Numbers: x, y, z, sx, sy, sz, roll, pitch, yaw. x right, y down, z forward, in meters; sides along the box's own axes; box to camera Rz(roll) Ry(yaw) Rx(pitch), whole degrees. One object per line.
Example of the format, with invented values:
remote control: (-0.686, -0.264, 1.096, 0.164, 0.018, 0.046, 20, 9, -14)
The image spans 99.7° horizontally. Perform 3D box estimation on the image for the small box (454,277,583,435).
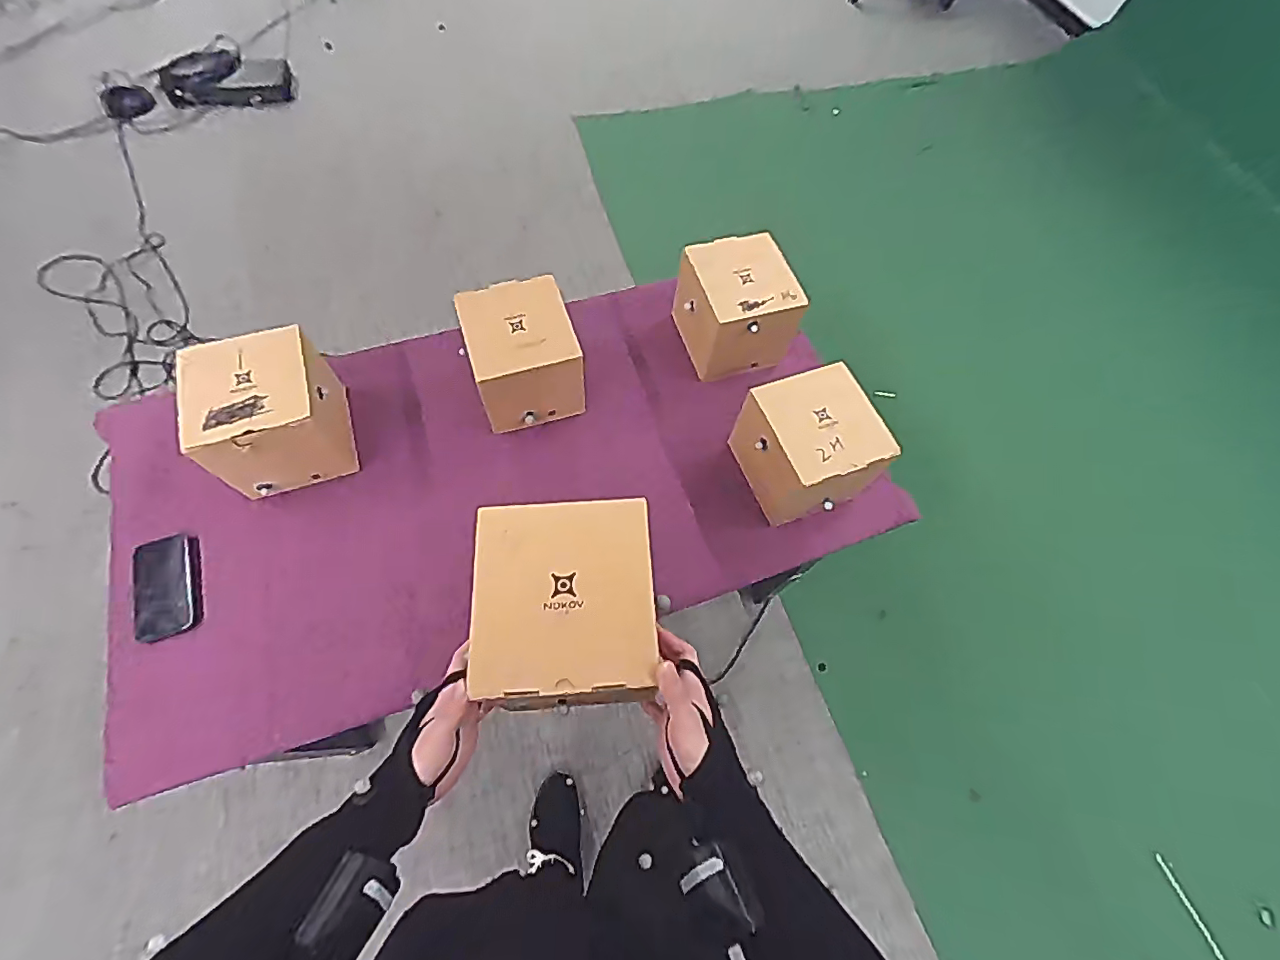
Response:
small box: (-0.198, -0.204, 0.911, 0.168, 0.176, 0.179, -17, 68, -10)

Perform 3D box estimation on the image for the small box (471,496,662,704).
small box: (-0.070, 0.132, 0.569, 0.168, 0.176, 0.179, -4, 65, -3)

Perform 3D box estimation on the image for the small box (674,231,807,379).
small box: (0.170, -0.313, 0.983, 0.168, 0.176, 0.179, -16, 67, -10)

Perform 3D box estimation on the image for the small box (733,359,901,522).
small box: (0.266, -0.058, 0.864, 0.168, 0.176, 0.179, -19, 68, -10)

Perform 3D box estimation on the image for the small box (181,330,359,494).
small box: (-0.558, -0.094, 0.833, 0.168, 0.176, 0.179, -18, 67, -11)
